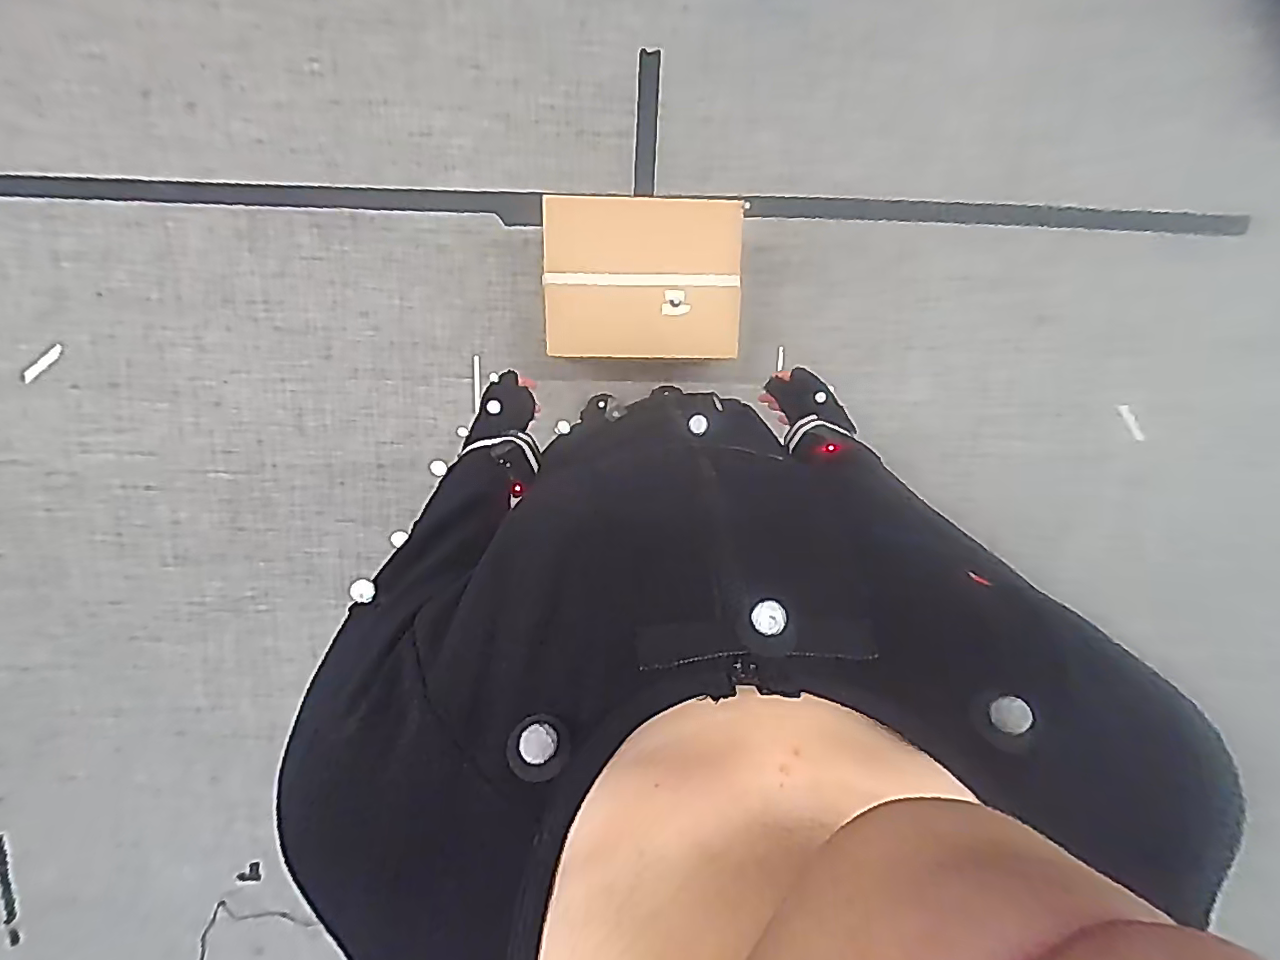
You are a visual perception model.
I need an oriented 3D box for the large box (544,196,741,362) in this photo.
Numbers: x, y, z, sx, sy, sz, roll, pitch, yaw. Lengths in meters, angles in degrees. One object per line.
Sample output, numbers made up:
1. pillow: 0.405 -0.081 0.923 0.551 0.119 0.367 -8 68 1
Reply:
1. large box: -0.003 -0.440 1.253 0.408 0.320 0.320 -1 101 -4
